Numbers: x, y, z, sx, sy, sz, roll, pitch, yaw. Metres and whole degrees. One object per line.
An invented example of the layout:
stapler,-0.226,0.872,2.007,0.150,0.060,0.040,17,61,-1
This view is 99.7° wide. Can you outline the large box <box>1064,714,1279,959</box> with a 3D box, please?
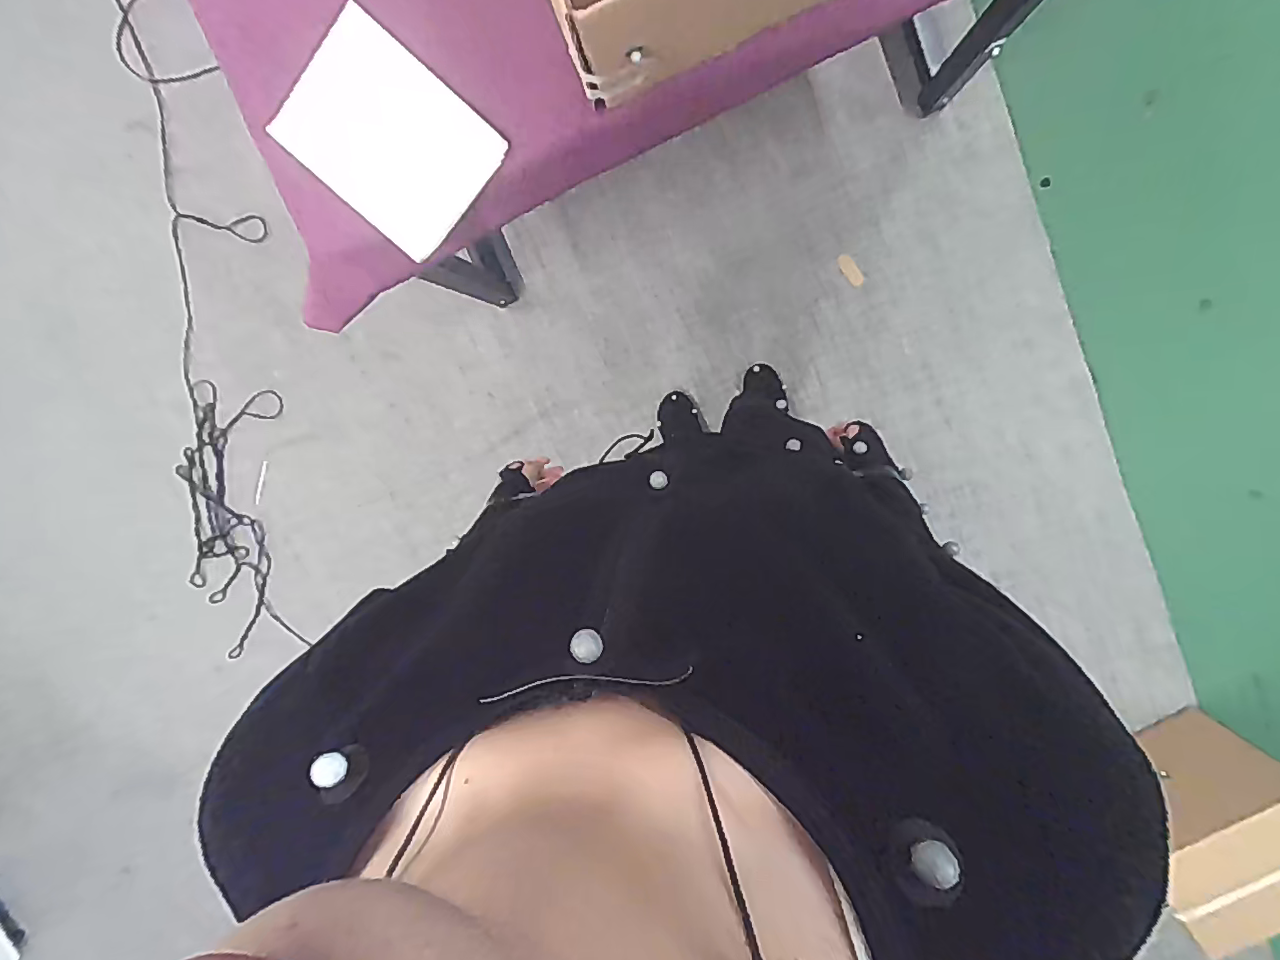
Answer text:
large box,1.423,0.886,1.361,0.408,0.320,0.320,-37,95,9
